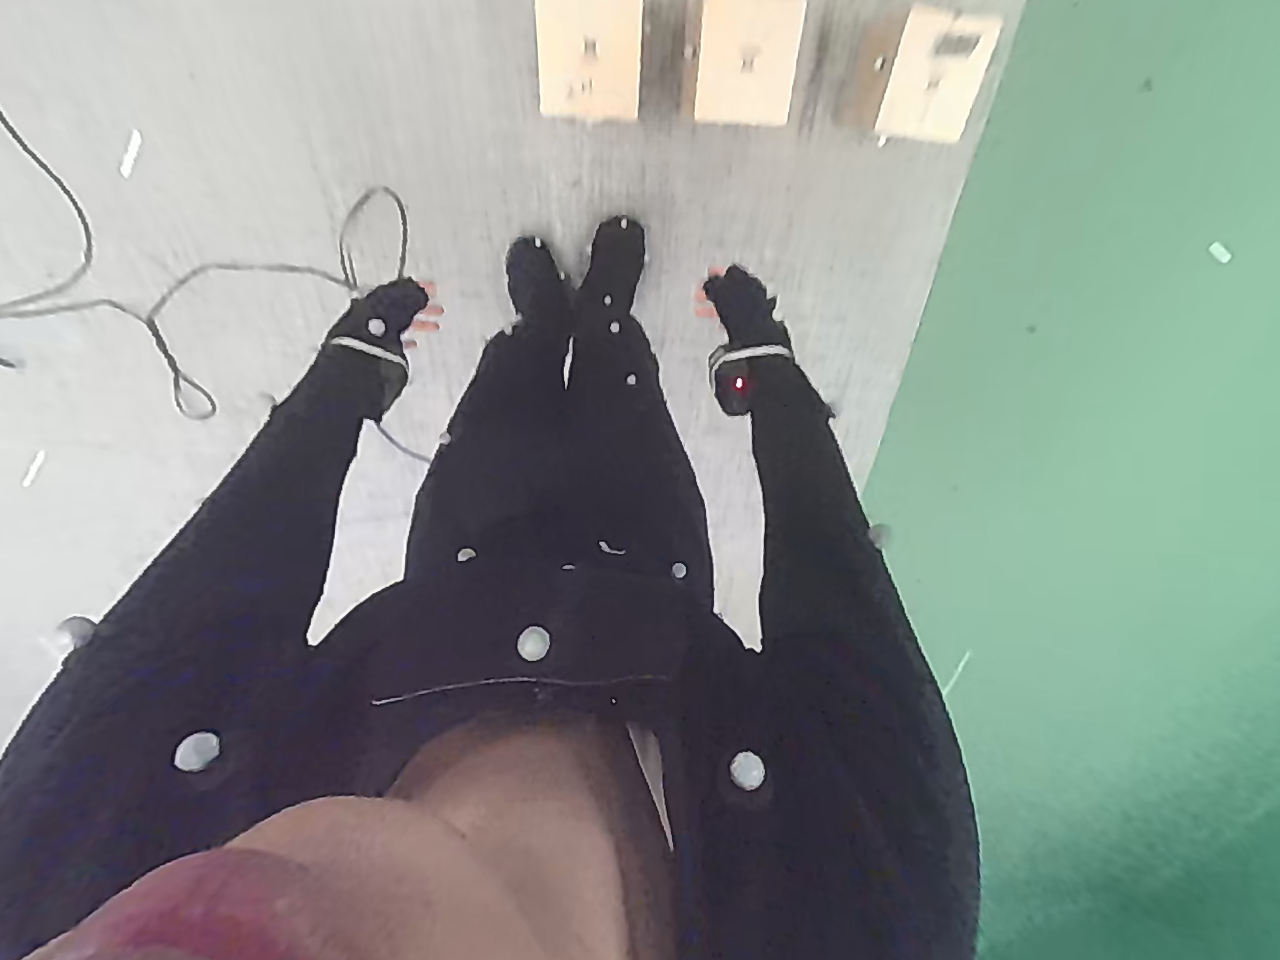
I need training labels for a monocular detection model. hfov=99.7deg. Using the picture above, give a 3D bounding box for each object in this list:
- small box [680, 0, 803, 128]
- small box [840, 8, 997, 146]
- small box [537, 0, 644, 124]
[{"bbox_3d":[0.167,-0.730,0.953,0.168,0.176,0.179,-1,123,-5],"label":"small box"},{"bbox_3d":[0.491,-0.726,0.988,0.168,0.176,0.179,2,124,-7],"label":"small box"},{"bbox_3d":[-0.087,-0.722,0.929,0.168,0.176,0.179,0,124,-5],"label":"small box"}]
